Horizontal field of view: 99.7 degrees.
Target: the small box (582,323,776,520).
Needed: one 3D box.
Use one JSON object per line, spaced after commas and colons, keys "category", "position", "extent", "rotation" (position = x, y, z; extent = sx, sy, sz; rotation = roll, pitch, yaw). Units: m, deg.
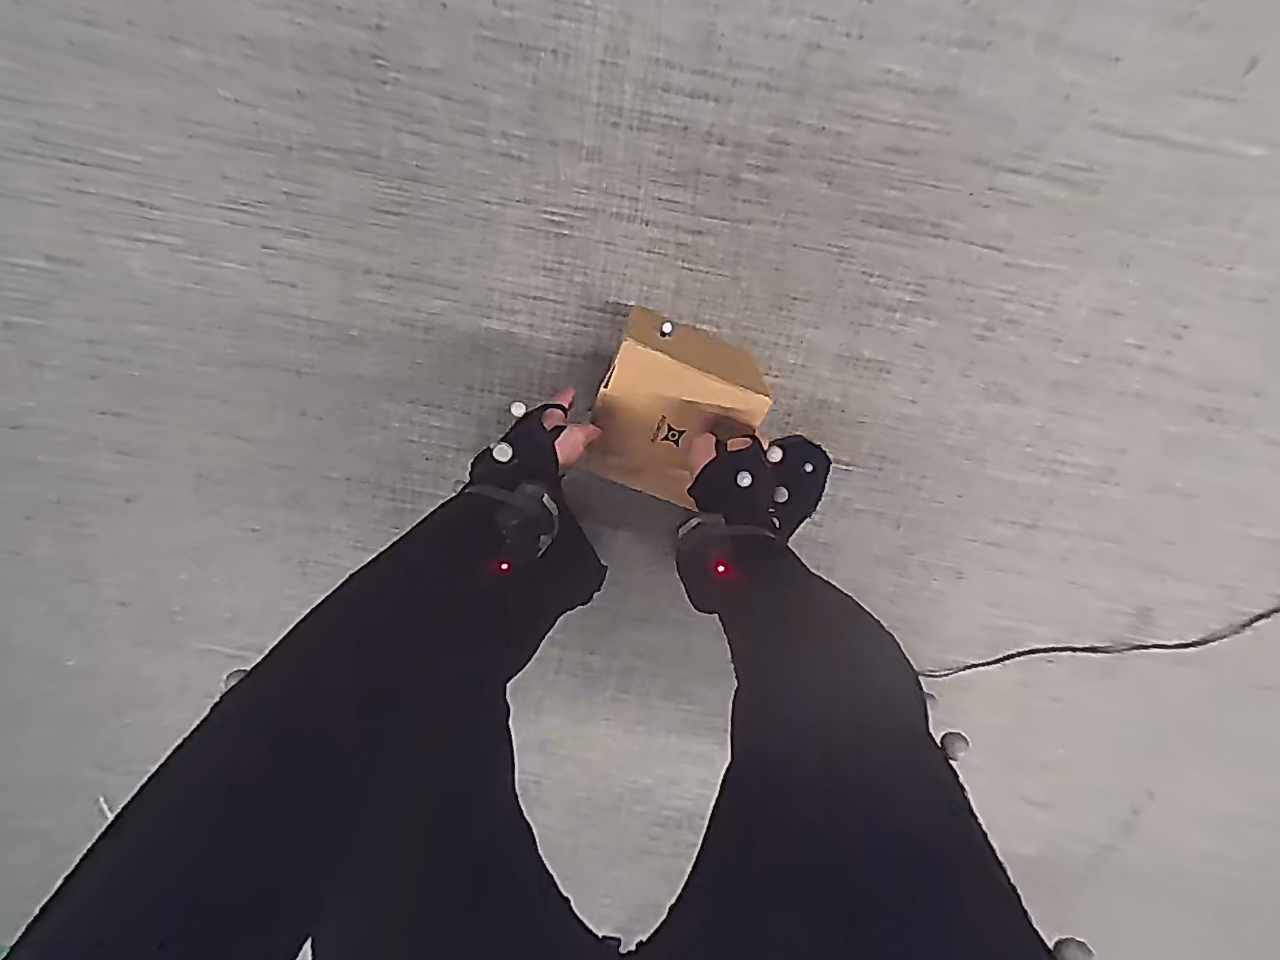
{"category": "small box", "position": [0.043, -0.083, 0.685], "extent": [0.179, 0.176, 0.168], "rotation": [20, 119, -9]}
